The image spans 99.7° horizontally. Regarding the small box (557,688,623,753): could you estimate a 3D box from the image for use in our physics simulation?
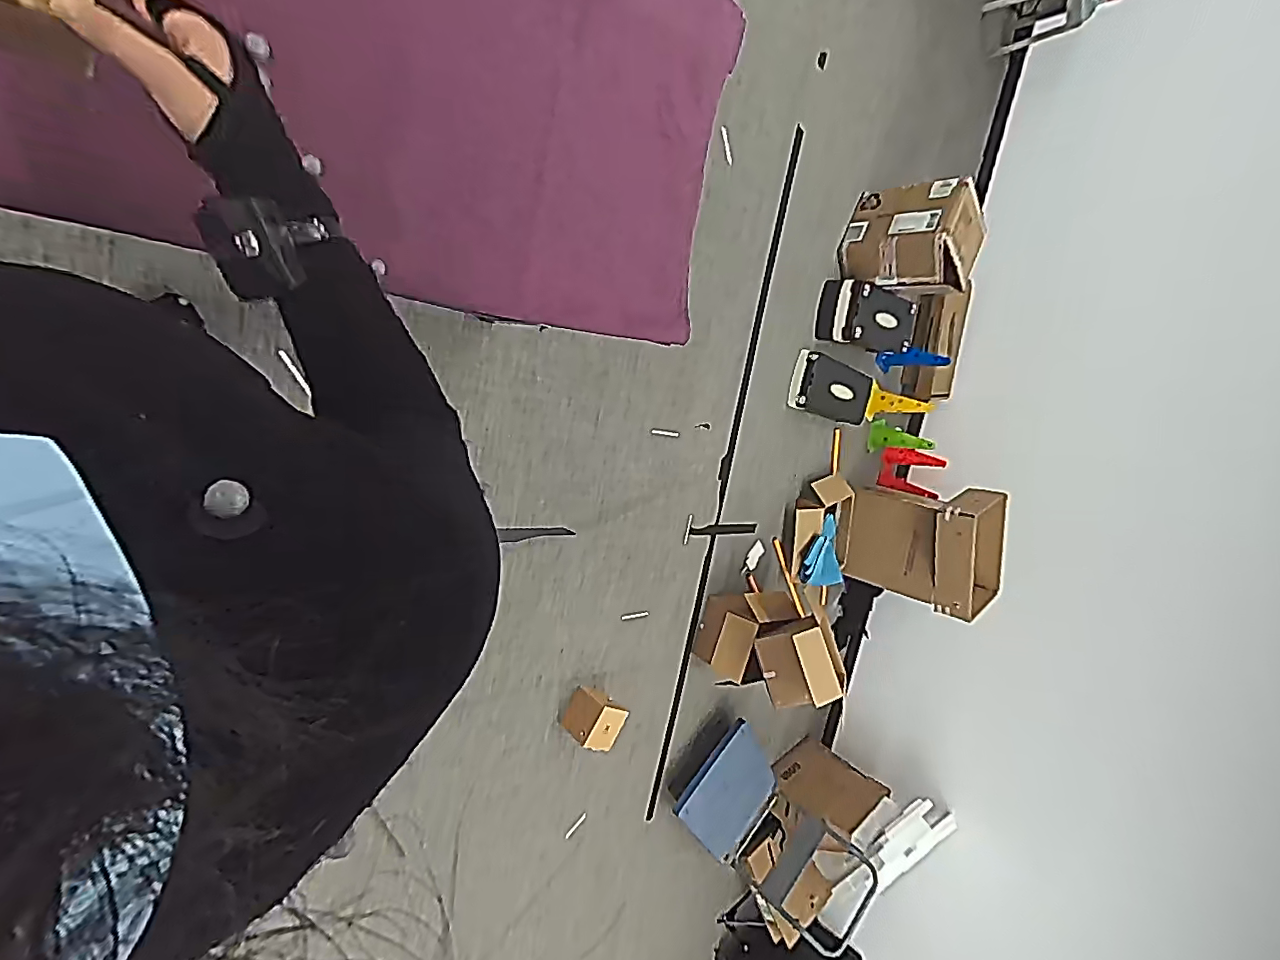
[{"bbox_3d":[-0.207,0.971,2.189,0.168,0.176,0.179,38,78,-44],"label":"small box"}]
